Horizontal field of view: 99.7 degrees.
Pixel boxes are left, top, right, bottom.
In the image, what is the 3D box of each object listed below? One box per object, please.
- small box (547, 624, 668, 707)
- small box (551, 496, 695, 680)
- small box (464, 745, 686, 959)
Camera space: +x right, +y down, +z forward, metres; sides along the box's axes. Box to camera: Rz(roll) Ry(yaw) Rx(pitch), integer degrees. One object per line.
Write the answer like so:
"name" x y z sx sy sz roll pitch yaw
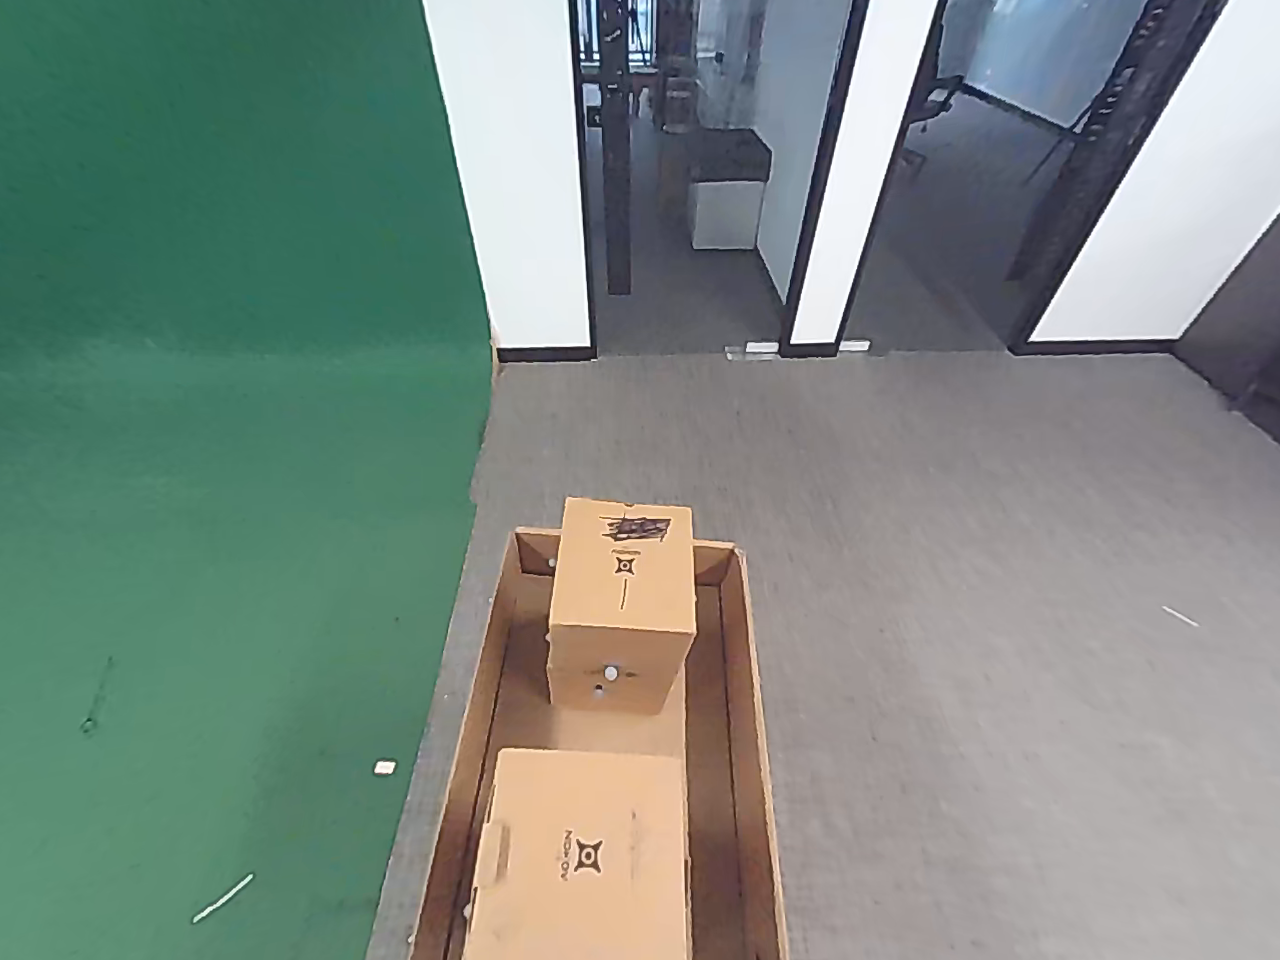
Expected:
"small box" -0.042 0.243 0.842 0.179 0.176 0.168 6 52 -2
"small box" -0.024 0.145 0.712 0.168 0.176 0.179 5 52 -3
"small box" -0.057 0.372 0.528 0.179 0.176 0.168 5 51 -5
